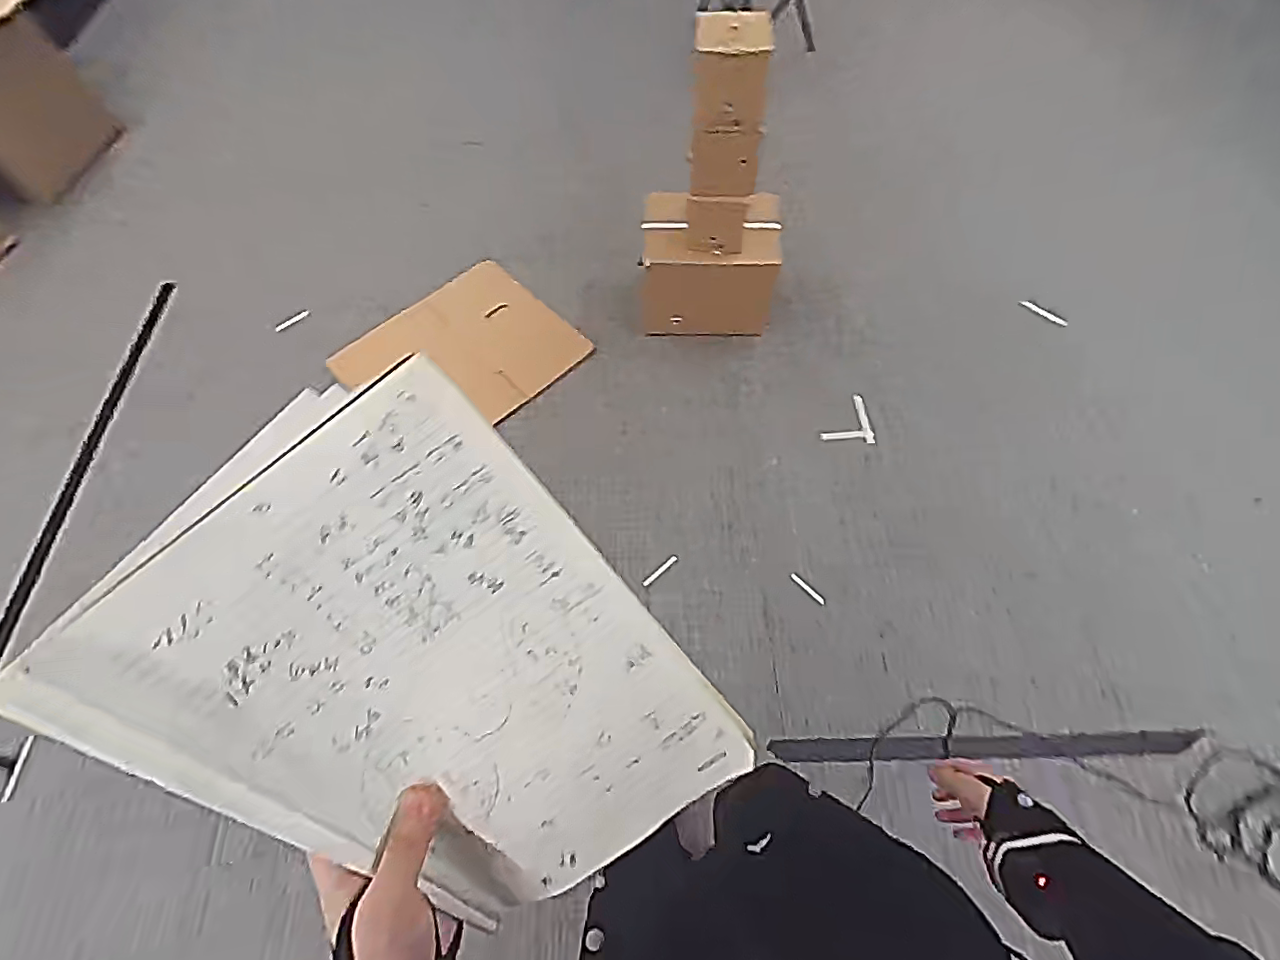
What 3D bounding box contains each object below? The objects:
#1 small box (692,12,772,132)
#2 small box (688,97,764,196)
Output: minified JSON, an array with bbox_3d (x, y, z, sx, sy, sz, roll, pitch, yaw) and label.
[{"bbox_3d":[0.207,-0.948,1.259,0.168,0.176,0.179,2,63,4],"label":"small box"},{"bbox_3d":[0.215,-0.863,1.400,0.179,0.176,0.168,0,63,3],"label":"small box"}]
